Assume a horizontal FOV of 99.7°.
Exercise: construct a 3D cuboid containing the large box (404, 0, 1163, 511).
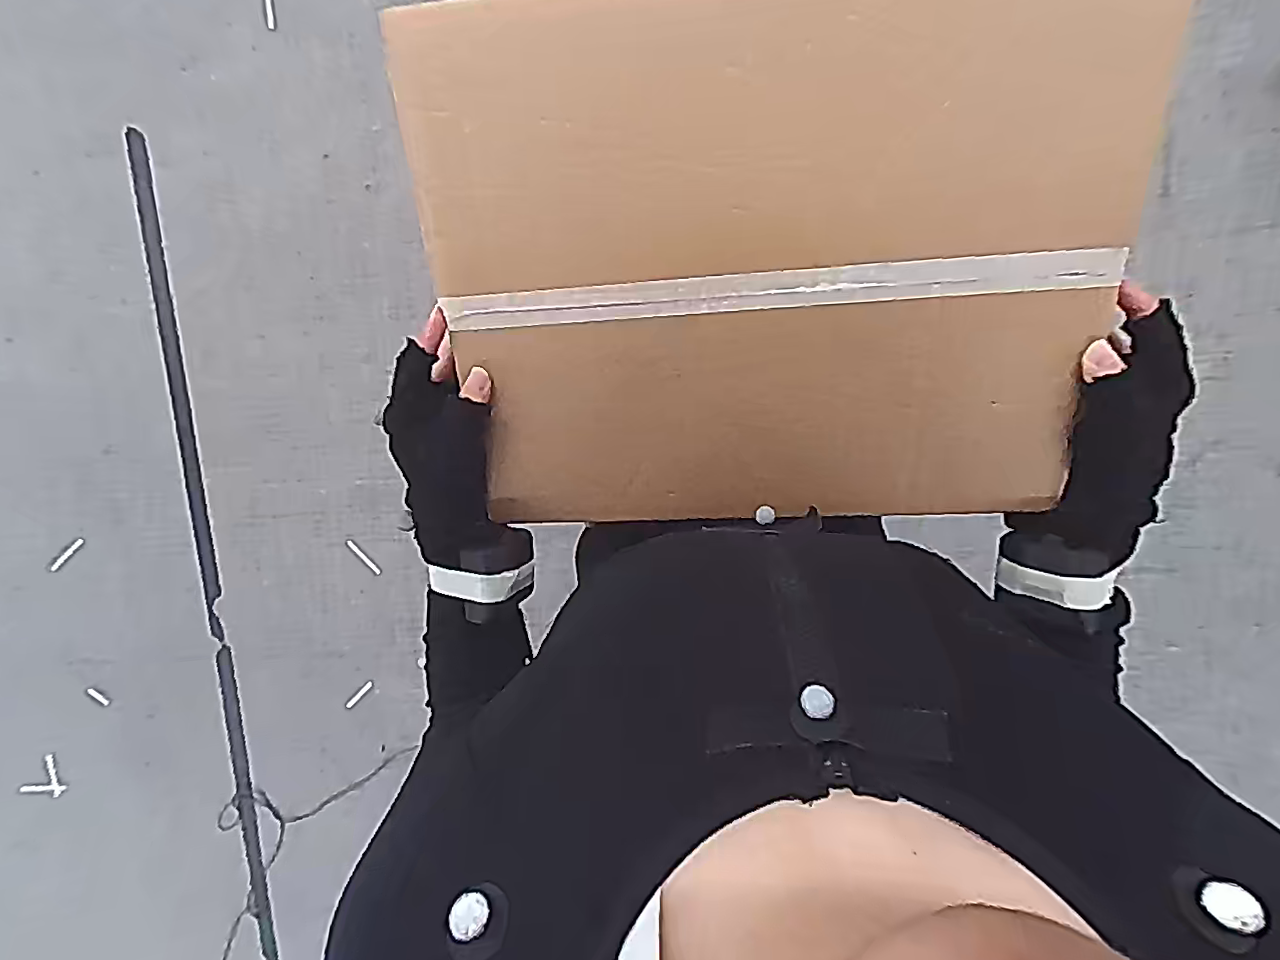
[{"bbox_3d":[0.084,-0.182,0.475,0.408,0.320,0.320,-1,115,6],"label":"large box"}]
